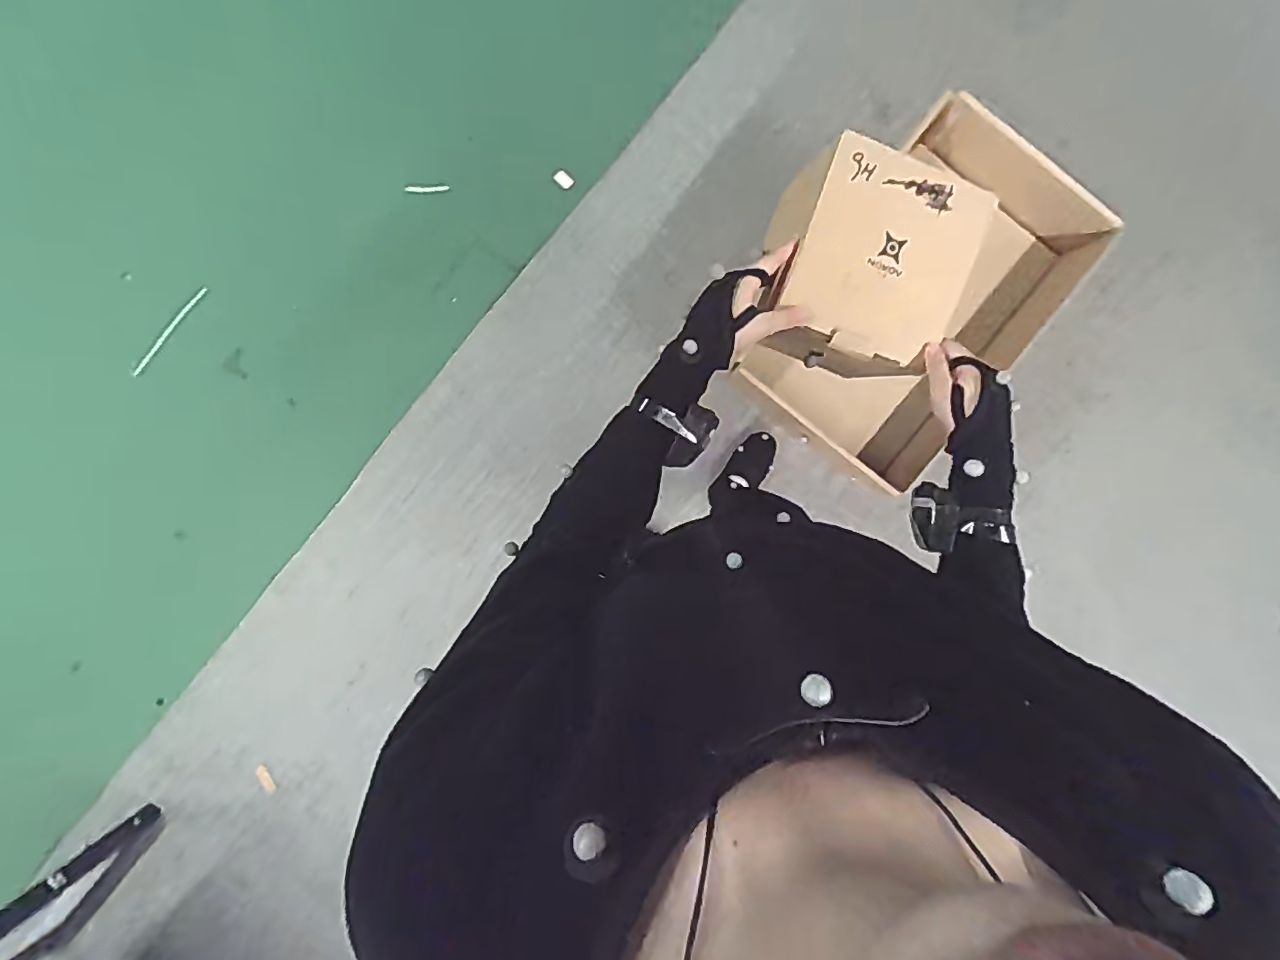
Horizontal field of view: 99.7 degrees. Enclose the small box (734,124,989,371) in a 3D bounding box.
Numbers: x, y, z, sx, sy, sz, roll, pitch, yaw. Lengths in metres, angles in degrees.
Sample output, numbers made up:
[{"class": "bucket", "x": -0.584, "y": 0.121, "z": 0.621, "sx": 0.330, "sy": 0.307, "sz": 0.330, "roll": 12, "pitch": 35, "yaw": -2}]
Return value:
[{"class": "small box", "x": 0.213, "y": -0.225, "z": 0.578, "sx": 0.168, "sy": 0.176, "sz": 0.179, "roll": 18, "pitch": 99, "yaw": -8}]
